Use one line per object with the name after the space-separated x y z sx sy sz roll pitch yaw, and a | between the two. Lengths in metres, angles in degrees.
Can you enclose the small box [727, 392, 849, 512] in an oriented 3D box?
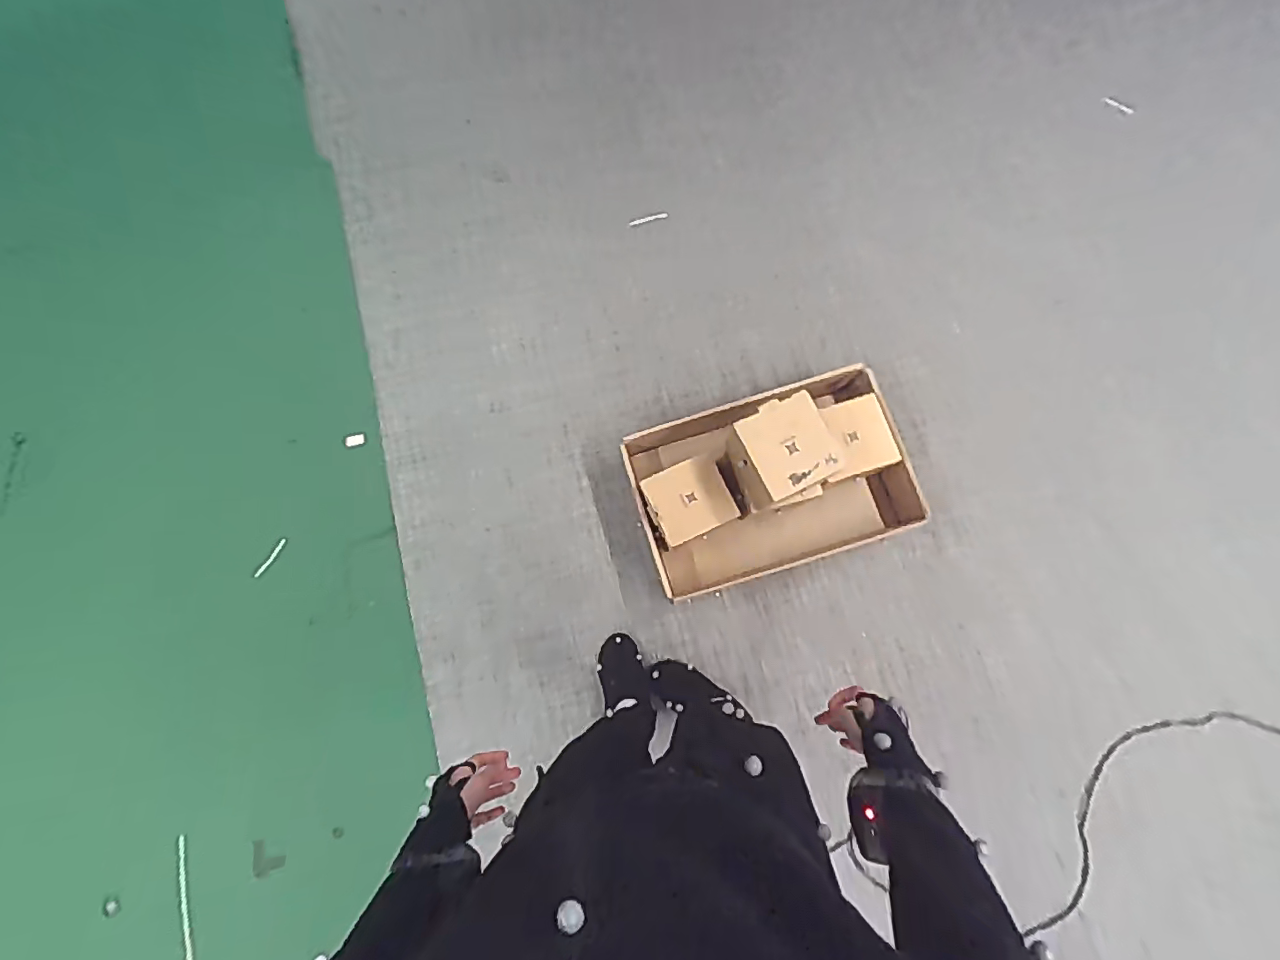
0.295 -0.051 1.126 0.168 0.176 0.179 -26 79 -2 | small box
